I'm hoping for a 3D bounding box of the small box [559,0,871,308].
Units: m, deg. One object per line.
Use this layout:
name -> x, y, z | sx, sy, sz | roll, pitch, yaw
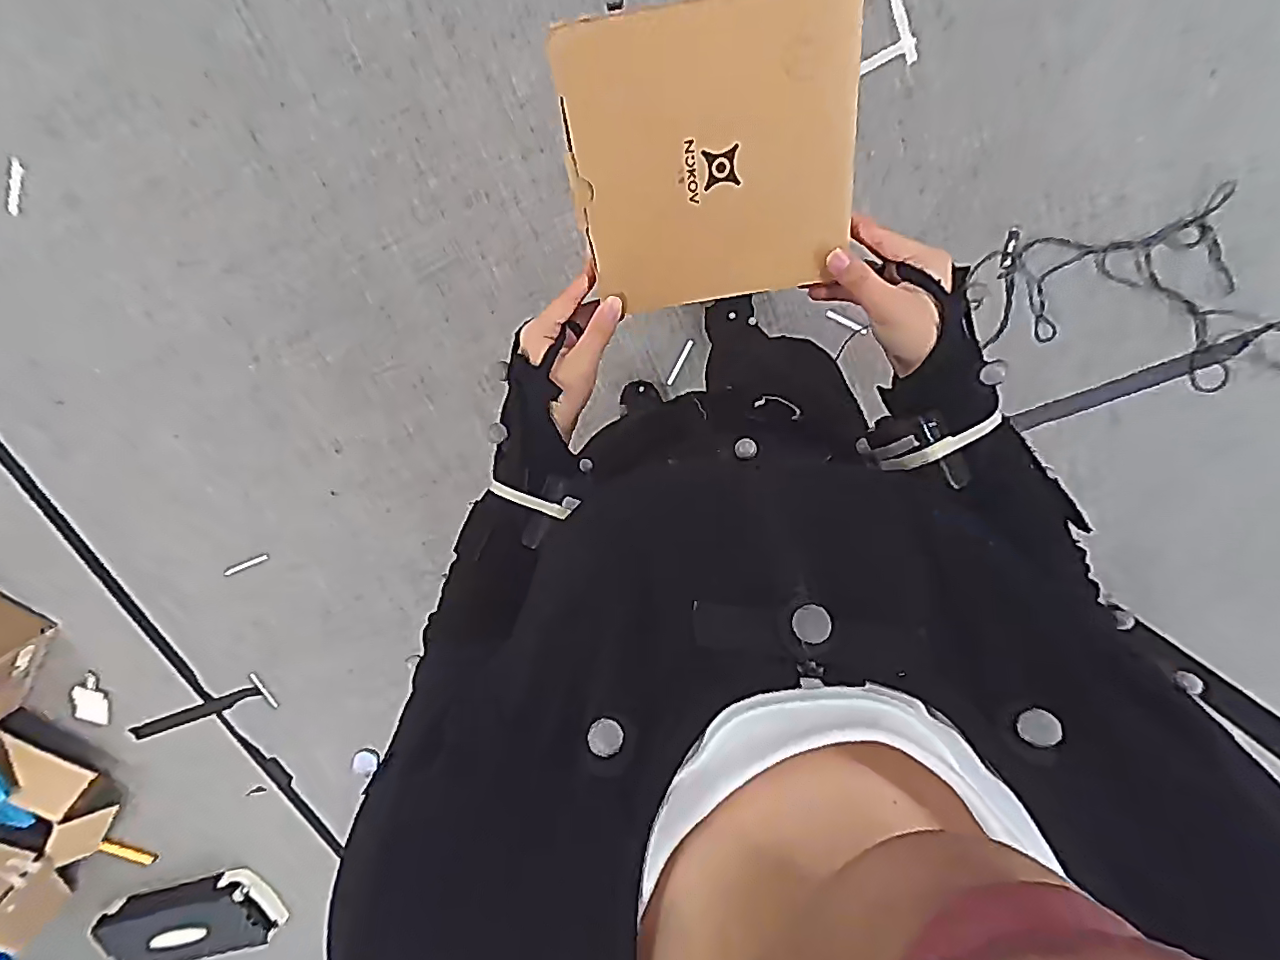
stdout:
small box -> 0.049, -0.248, 0.405 | 0.179, 0.176, 0.168 | -7, 126, 5
